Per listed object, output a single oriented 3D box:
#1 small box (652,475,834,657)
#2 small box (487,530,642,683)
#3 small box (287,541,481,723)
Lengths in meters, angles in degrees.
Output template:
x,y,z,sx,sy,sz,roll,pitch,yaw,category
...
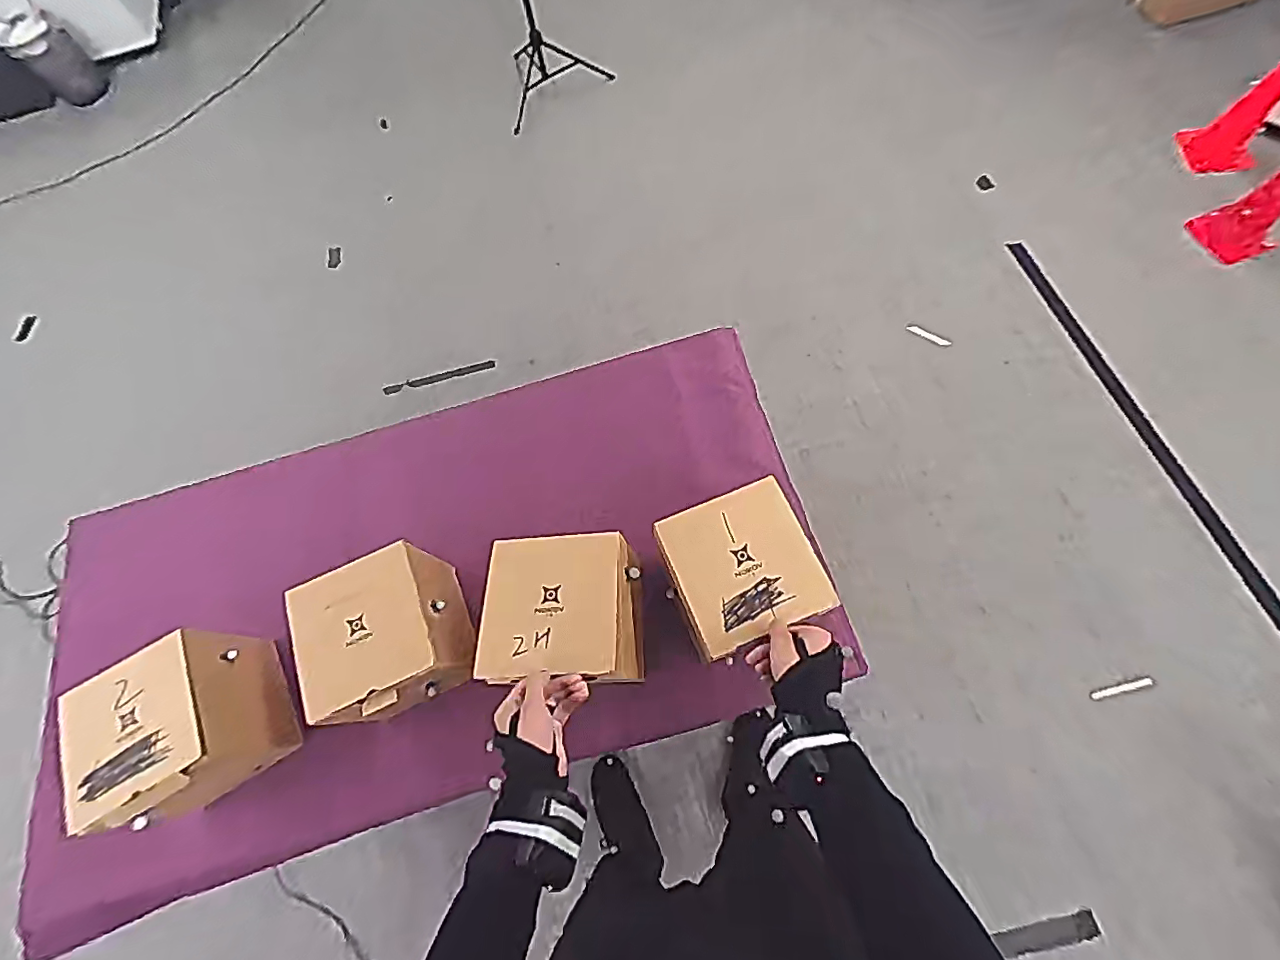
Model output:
x,y,z,sx,sy,sz,roll,pitch,yaw,category
0.125,0.124,0.718,0.168,0.176,0.179,-21,68,-5,small box
-0.090,0.177,0.727,0.168,0.176,0.179,-4,69,6,small box
-0.341,0.210,0.746,0.168,0.176,0.179,-24,68,-4,small box
